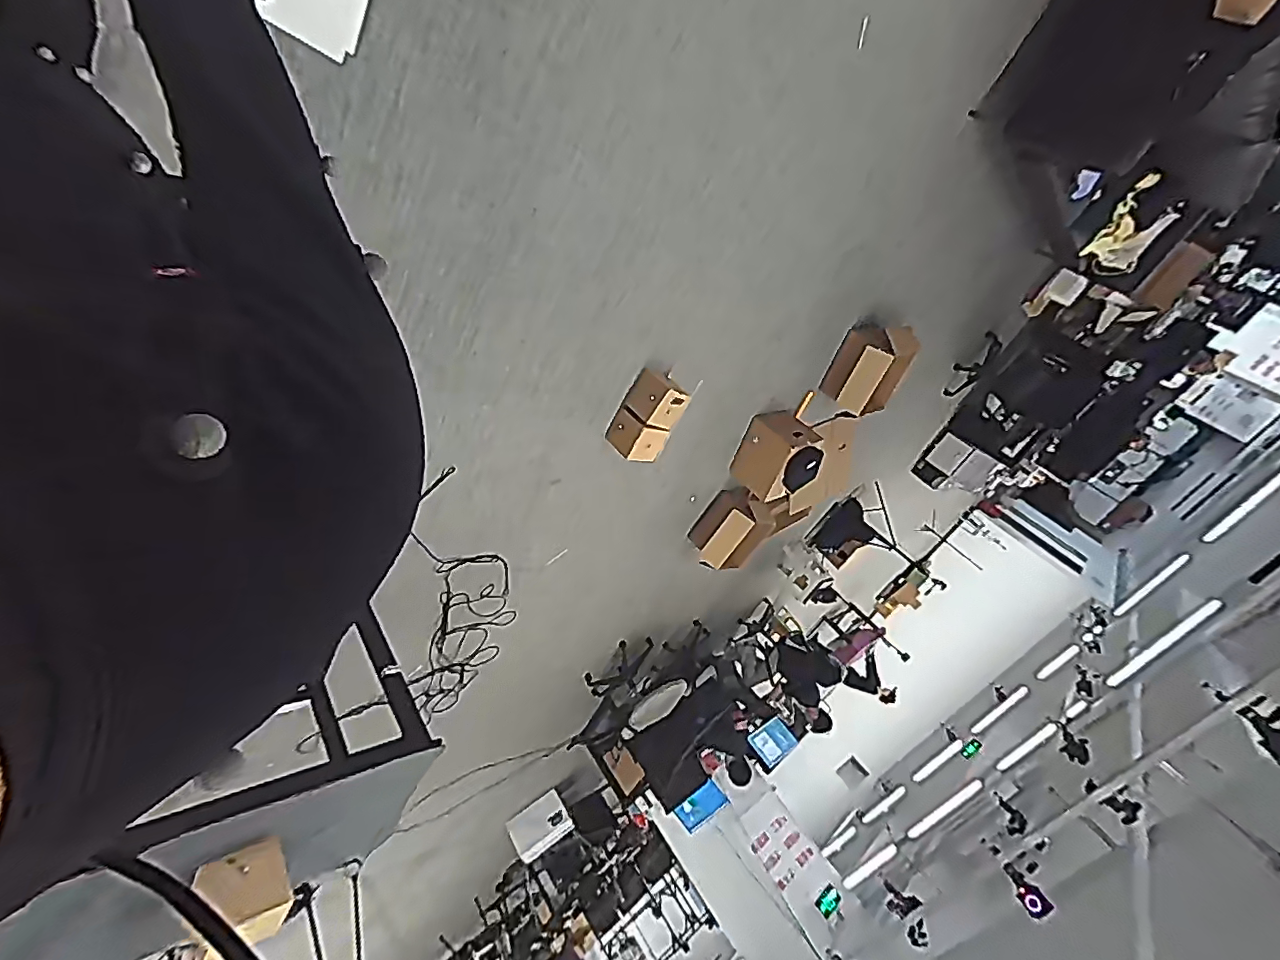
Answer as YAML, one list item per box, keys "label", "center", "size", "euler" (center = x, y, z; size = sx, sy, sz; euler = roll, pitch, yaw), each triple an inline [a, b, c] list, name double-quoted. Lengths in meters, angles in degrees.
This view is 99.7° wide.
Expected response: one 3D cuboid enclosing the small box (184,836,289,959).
- label: "small box"
  center: [-0.992, 1.022, 1.323]
  size: [0.168, 0.176, 0.179]
  euler: [3, 126, -51]
